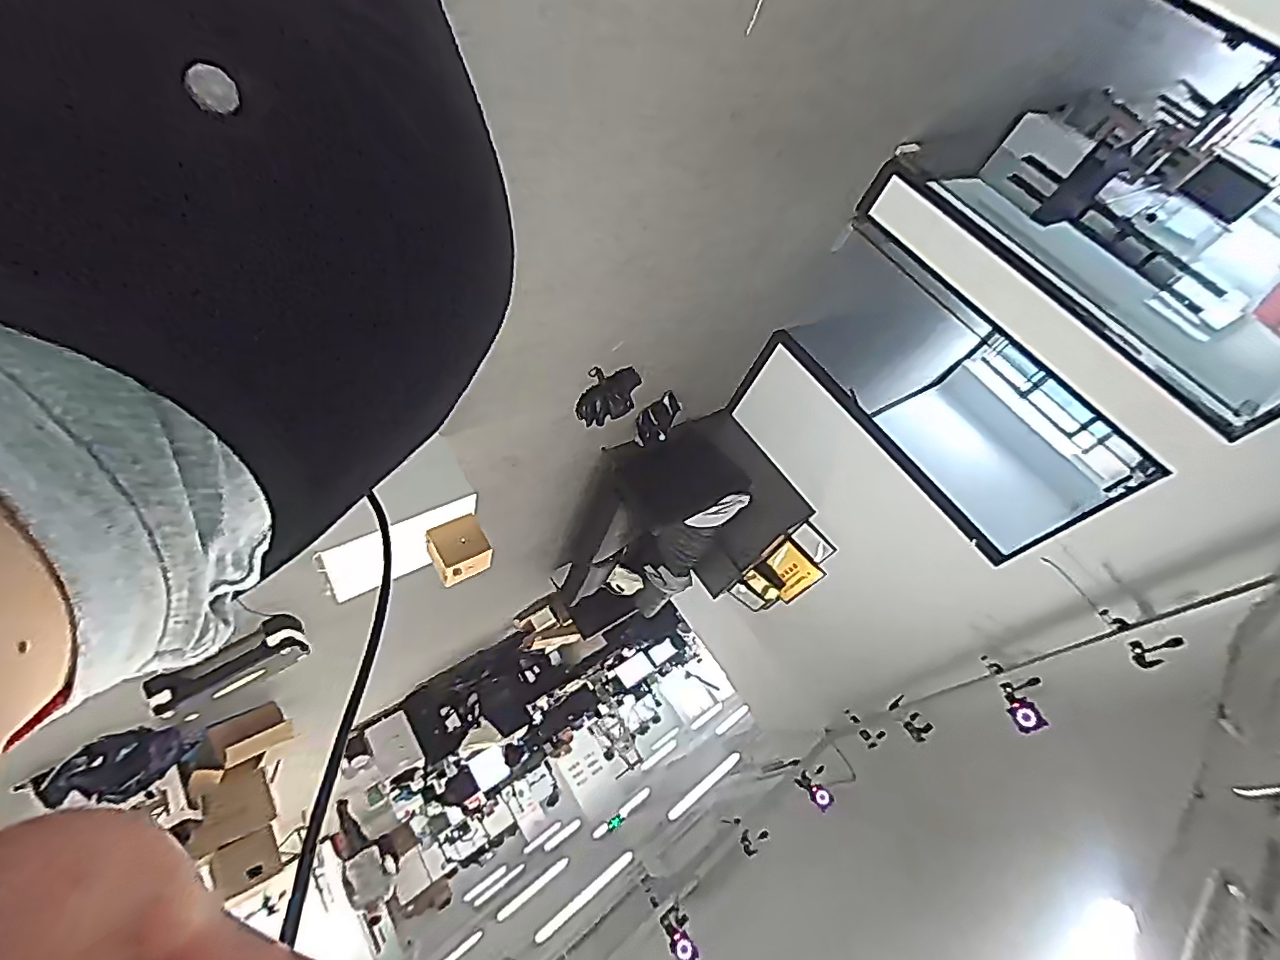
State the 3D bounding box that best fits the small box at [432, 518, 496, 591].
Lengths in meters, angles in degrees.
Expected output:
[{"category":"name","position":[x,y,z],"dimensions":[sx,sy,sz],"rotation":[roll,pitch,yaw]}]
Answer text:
[{"category":"small box","position":[-0.650,0.271,1.981],"dimensions":[0.179,0.176,0.168],"rotation":[-25,158,-32]}]
